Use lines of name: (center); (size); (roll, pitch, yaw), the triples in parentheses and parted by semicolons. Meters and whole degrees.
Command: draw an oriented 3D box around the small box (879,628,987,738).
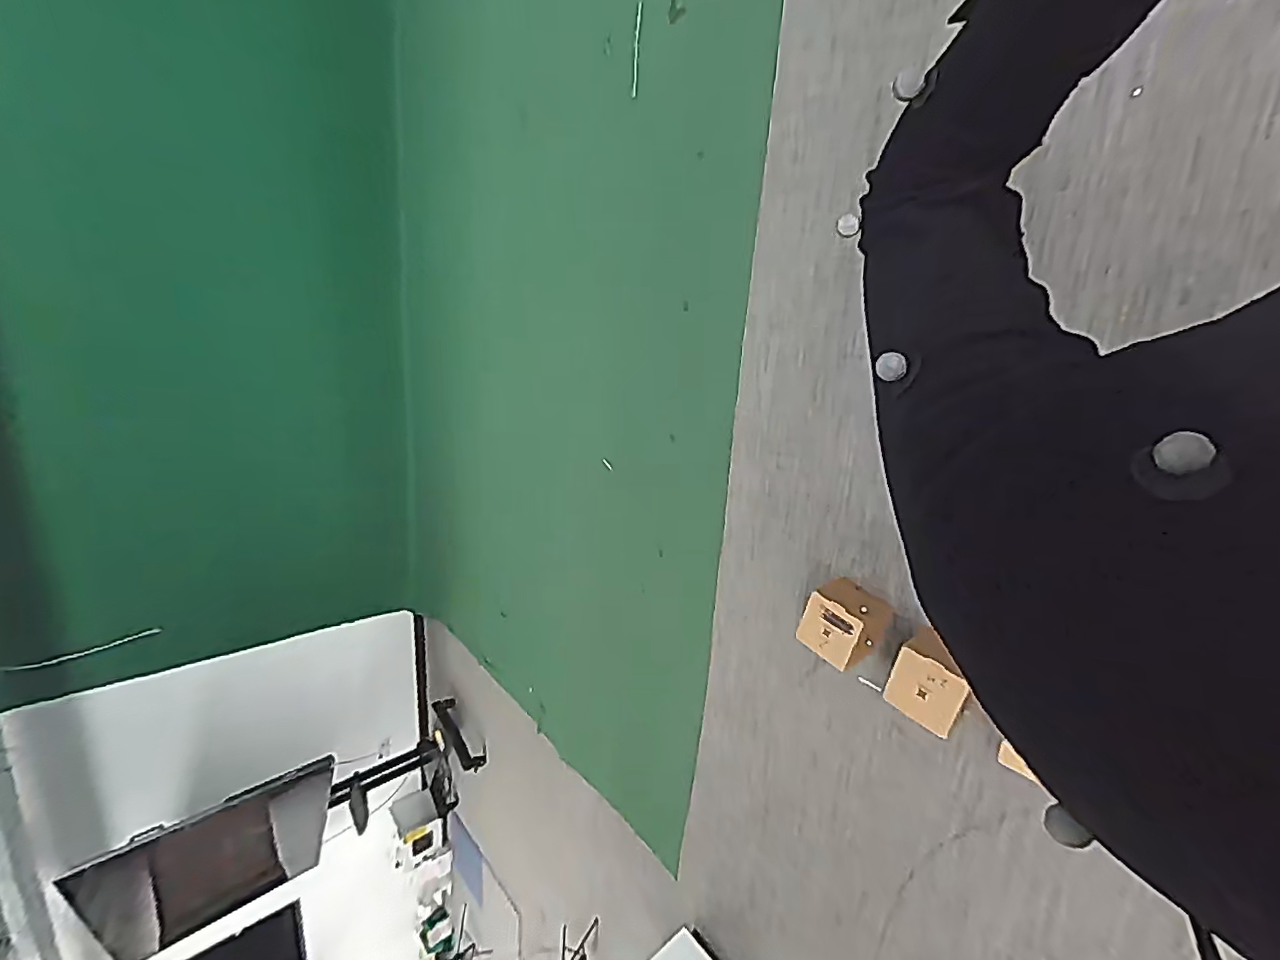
small box: (0.753, 0.511, 1.385); (0.168, 0.176, 0.179); (30, 116, 42)
